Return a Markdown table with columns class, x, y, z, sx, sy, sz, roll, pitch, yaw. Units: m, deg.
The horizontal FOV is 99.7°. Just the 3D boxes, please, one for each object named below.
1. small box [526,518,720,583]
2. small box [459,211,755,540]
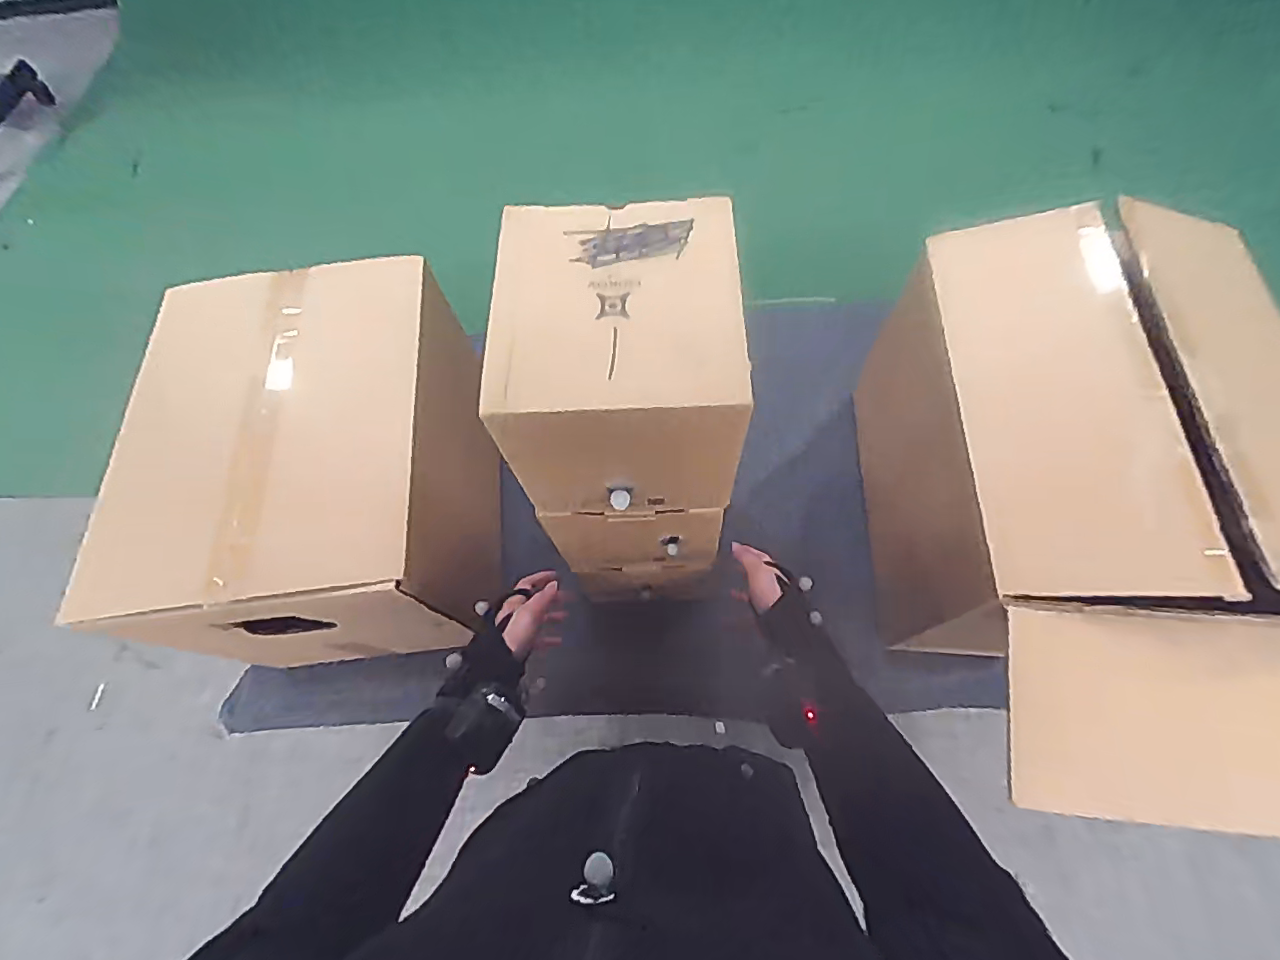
| class | x | y | z | sx | sy | sz | roll | pitch | yaw |
| --- | --- | --- | --- | --- | --- | --- | --- | --- | --- |
| small box | -0.010 | 0.003 | 0.549 | 0.168 | 0.176 | 0.179 | -3 | 65 | 2 |
| small box | -0.015 | -0.065 | 0.399 | 0.168 | 0.176 | 0.179 | -2 | 67 | 3 |
